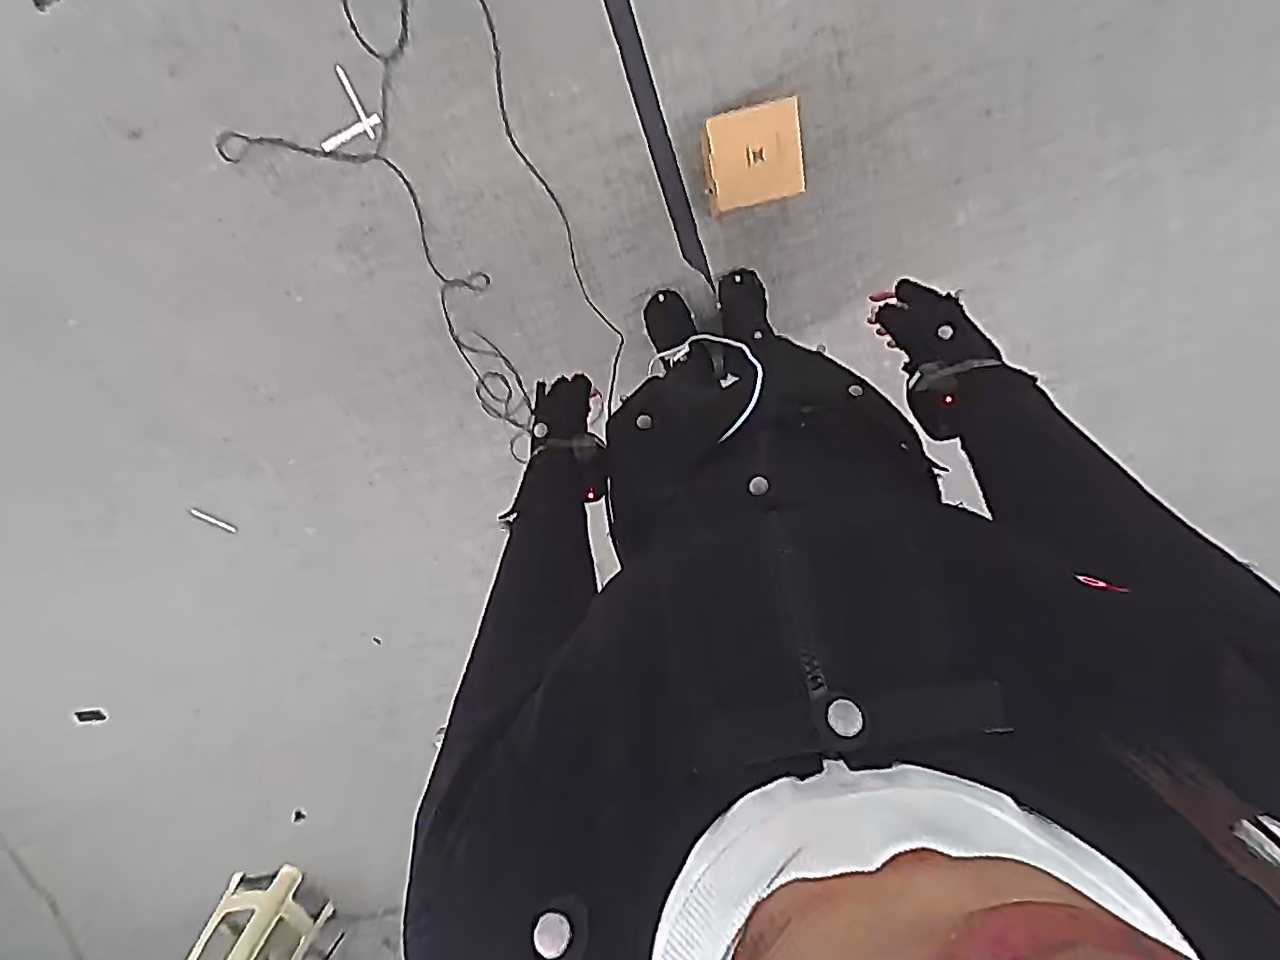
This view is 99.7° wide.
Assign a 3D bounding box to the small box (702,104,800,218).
[{"bbox_3d":[0.228,-0.662,1.144,0.179,0.176,0.168,-10,112,7],"label":"small box"}]
